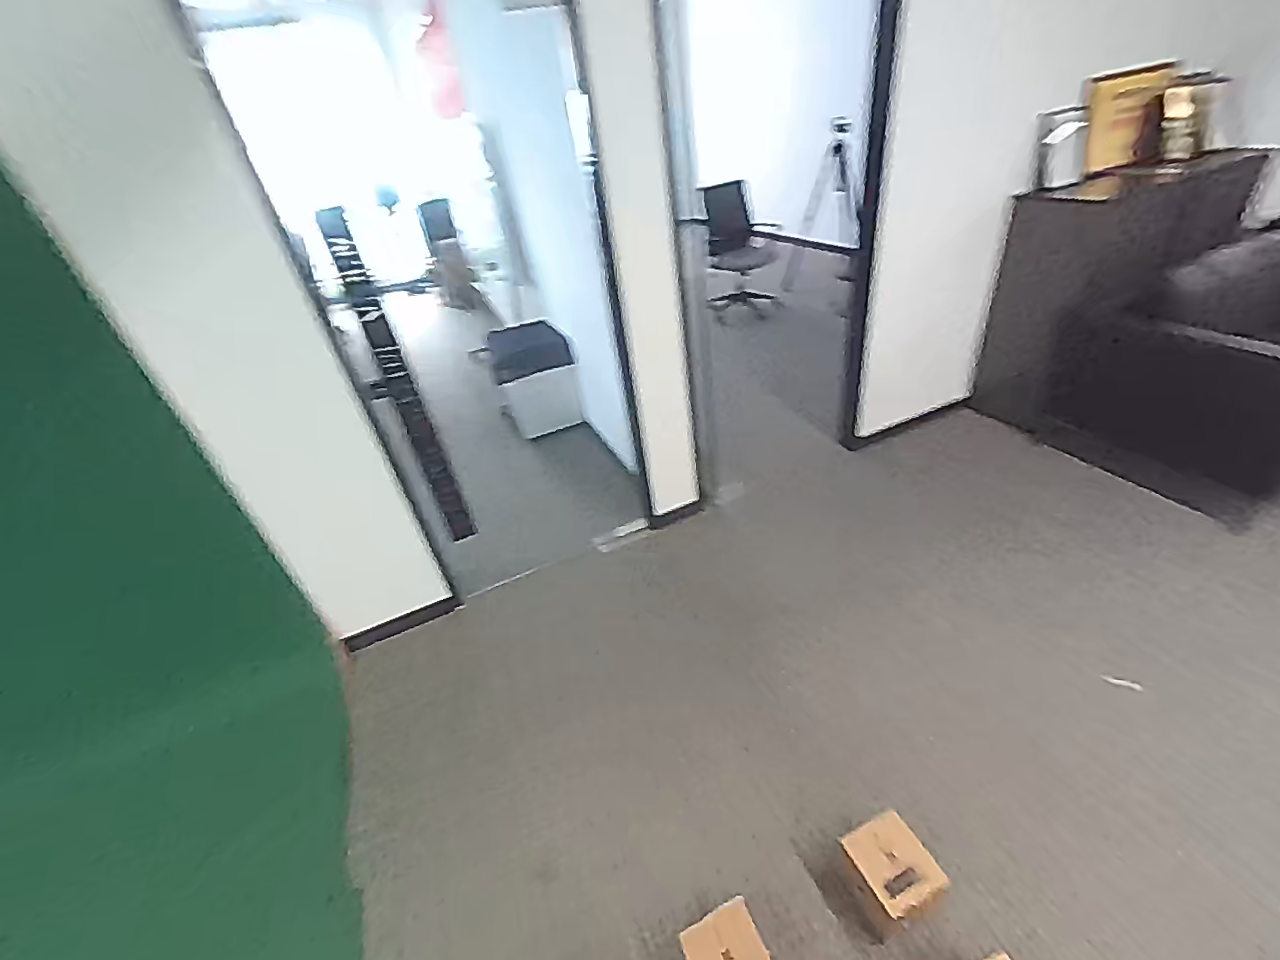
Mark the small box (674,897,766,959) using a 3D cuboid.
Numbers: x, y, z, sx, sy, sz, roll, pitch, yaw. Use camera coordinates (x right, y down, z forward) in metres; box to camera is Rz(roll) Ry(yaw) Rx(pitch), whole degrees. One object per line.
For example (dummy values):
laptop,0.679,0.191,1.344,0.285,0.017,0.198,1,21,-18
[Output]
small box,0.190,1.079,1.190,0.168,0.176,0.179,-18,35,-13
